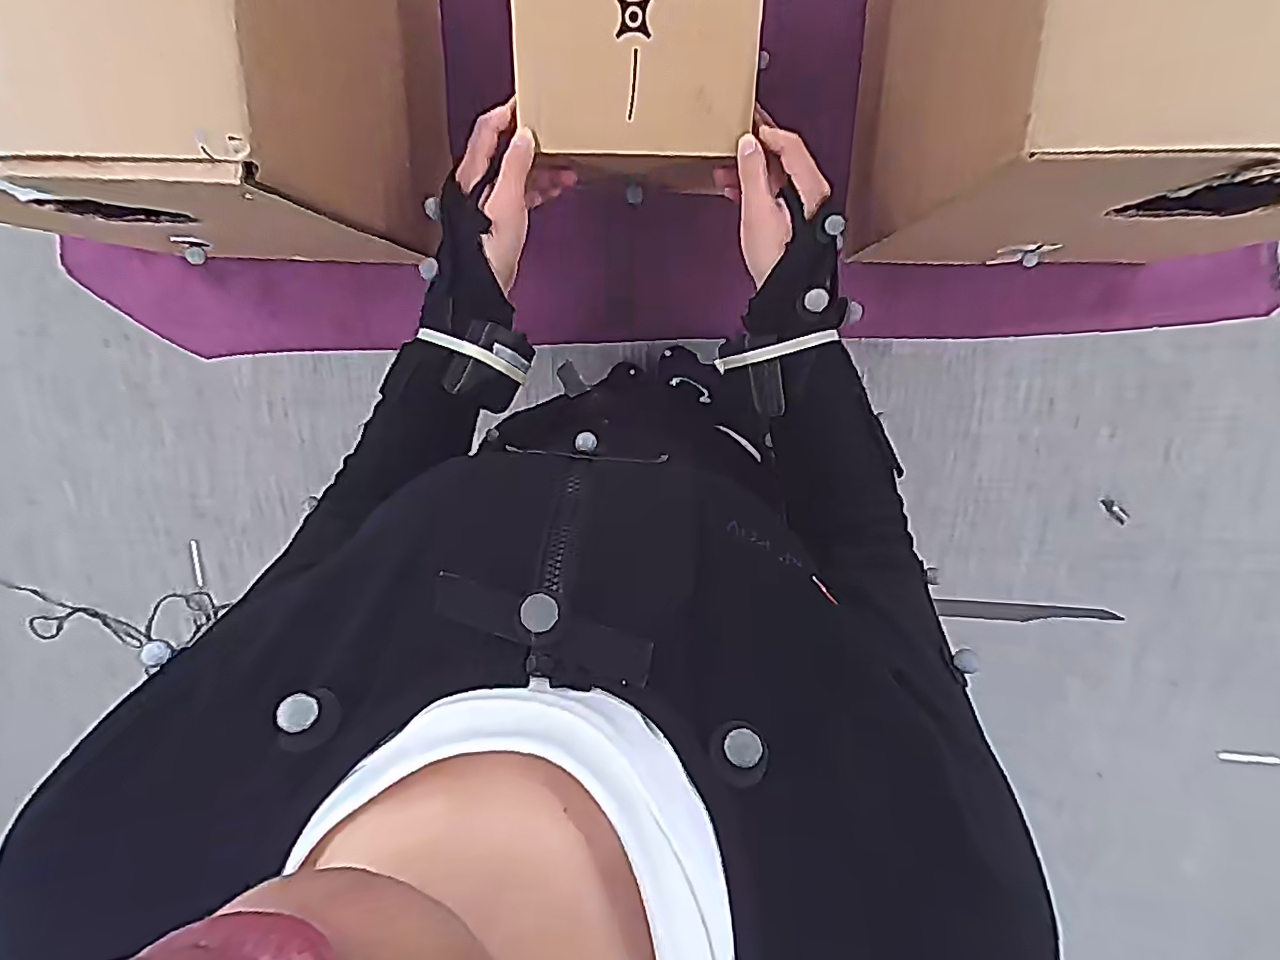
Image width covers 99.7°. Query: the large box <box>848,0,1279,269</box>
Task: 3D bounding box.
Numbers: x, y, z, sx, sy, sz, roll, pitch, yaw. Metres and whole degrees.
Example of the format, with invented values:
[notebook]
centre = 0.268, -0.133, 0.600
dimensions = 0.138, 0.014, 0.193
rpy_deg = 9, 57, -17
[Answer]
[large box]
centre = 0.349, -0.379, 0.362
dimensions = 0.320, 0.320, 0.408
rpy_deg = 1, 102, 3
